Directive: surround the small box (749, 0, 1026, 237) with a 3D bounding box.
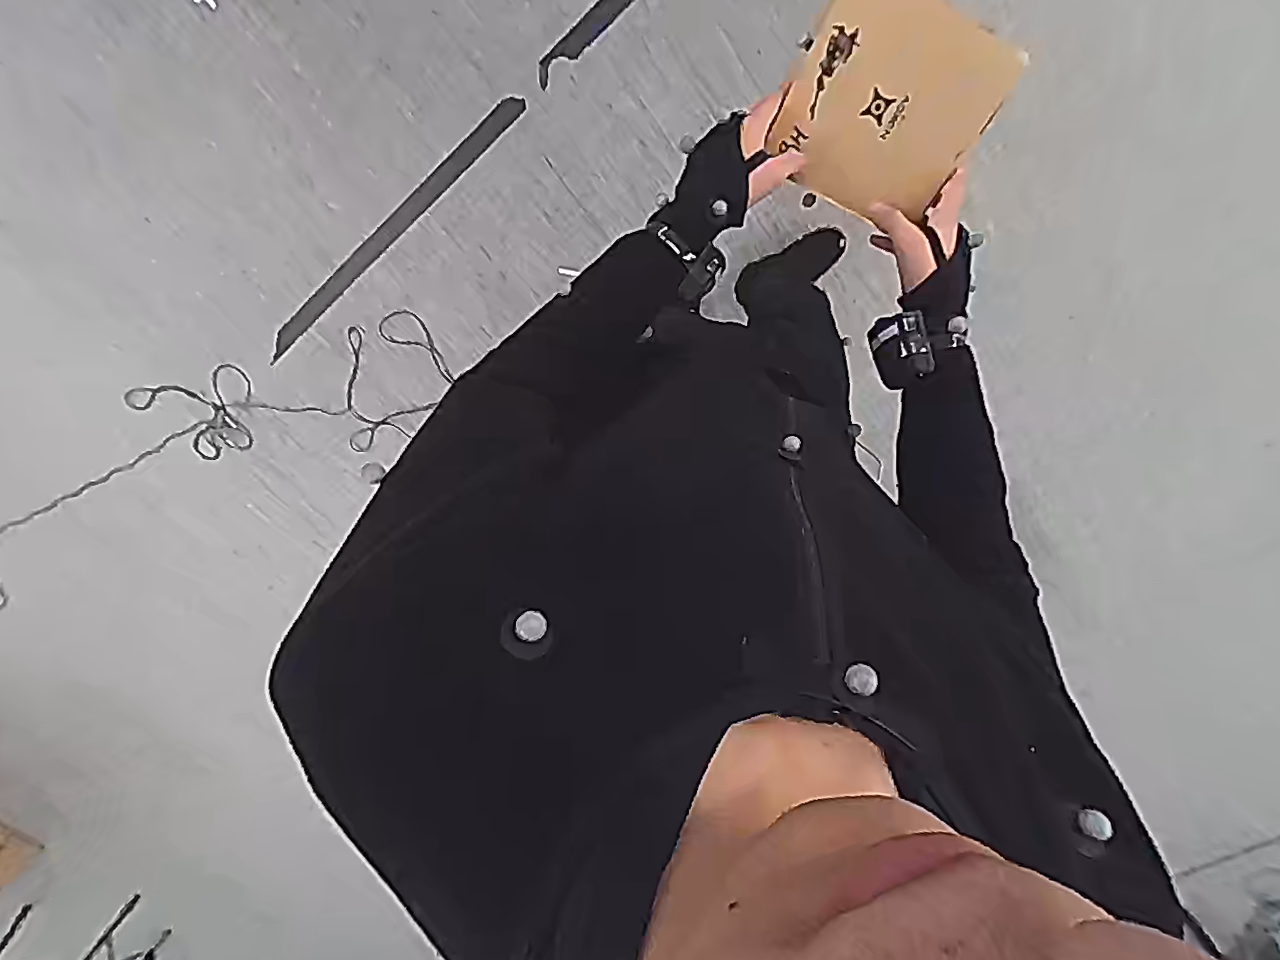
[{"bbox_3d":[0.228,-0.381,0.553,0.179,0.176,0.168,24,124,-8],"label":"small box"}]
